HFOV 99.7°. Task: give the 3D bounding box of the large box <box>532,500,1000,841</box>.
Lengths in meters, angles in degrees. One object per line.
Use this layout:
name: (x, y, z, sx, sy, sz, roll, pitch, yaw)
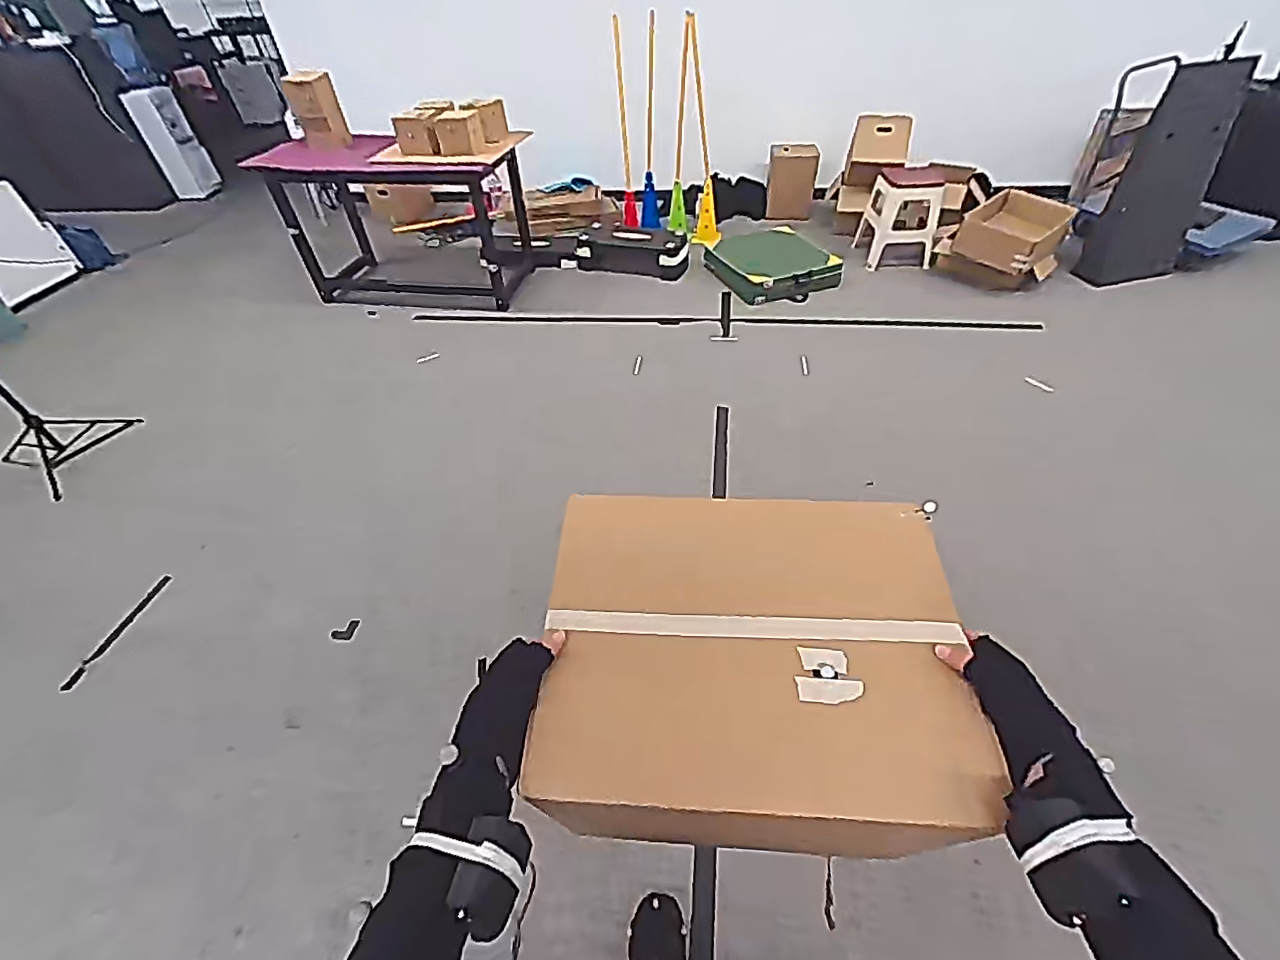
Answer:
large box: (0.114, 0.238, 0.664, 0.408, 0.320, 0.320, 1, 53, 4)
